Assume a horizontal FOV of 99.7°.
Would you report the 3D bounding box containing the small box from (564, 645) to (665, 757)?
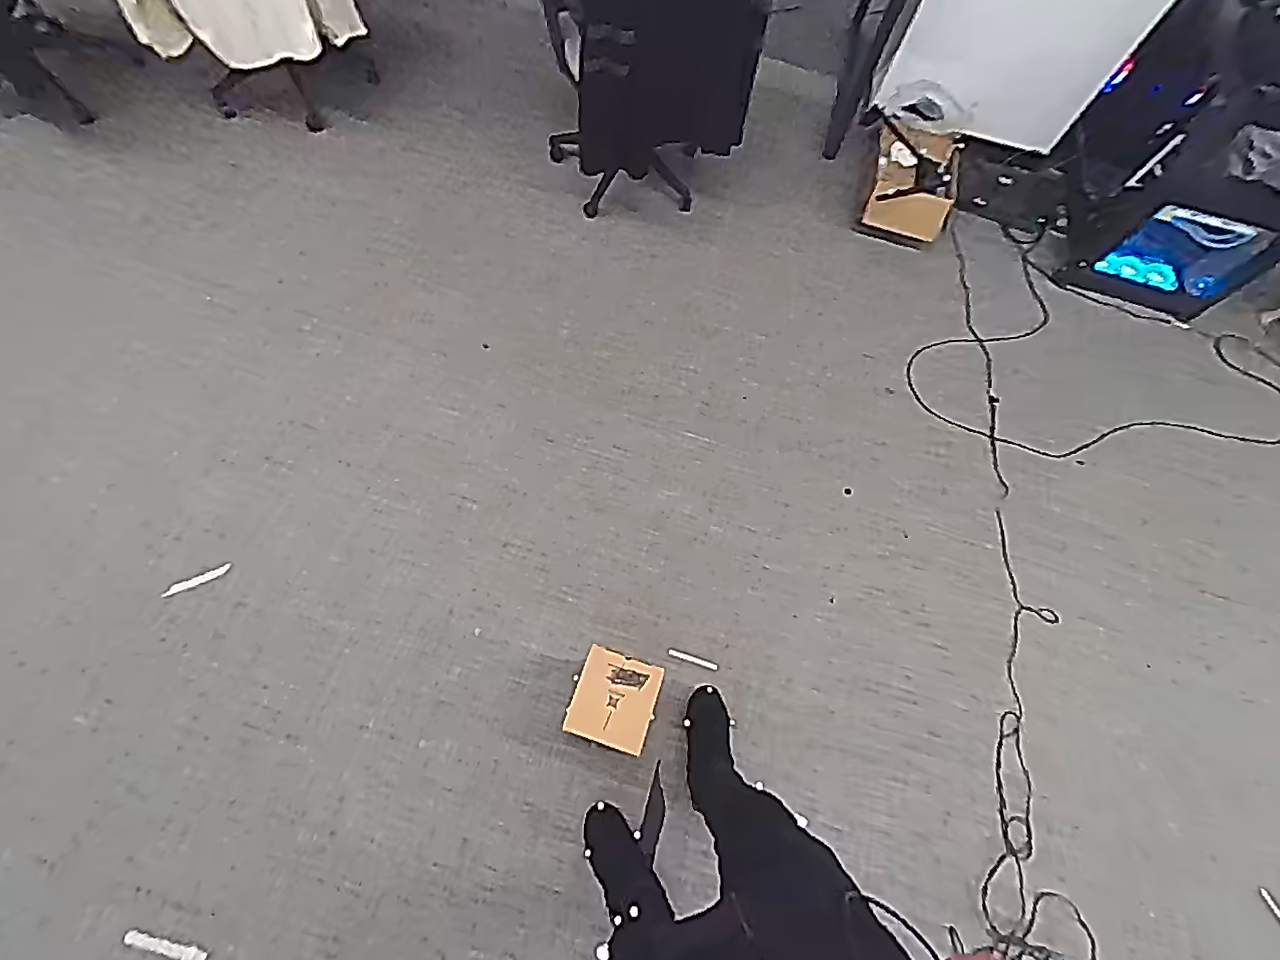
[{"bbox_3d":[-0.058,0.479,1.178,0.168,0.176,0.179,19,66,3],"label":"small box"}]
